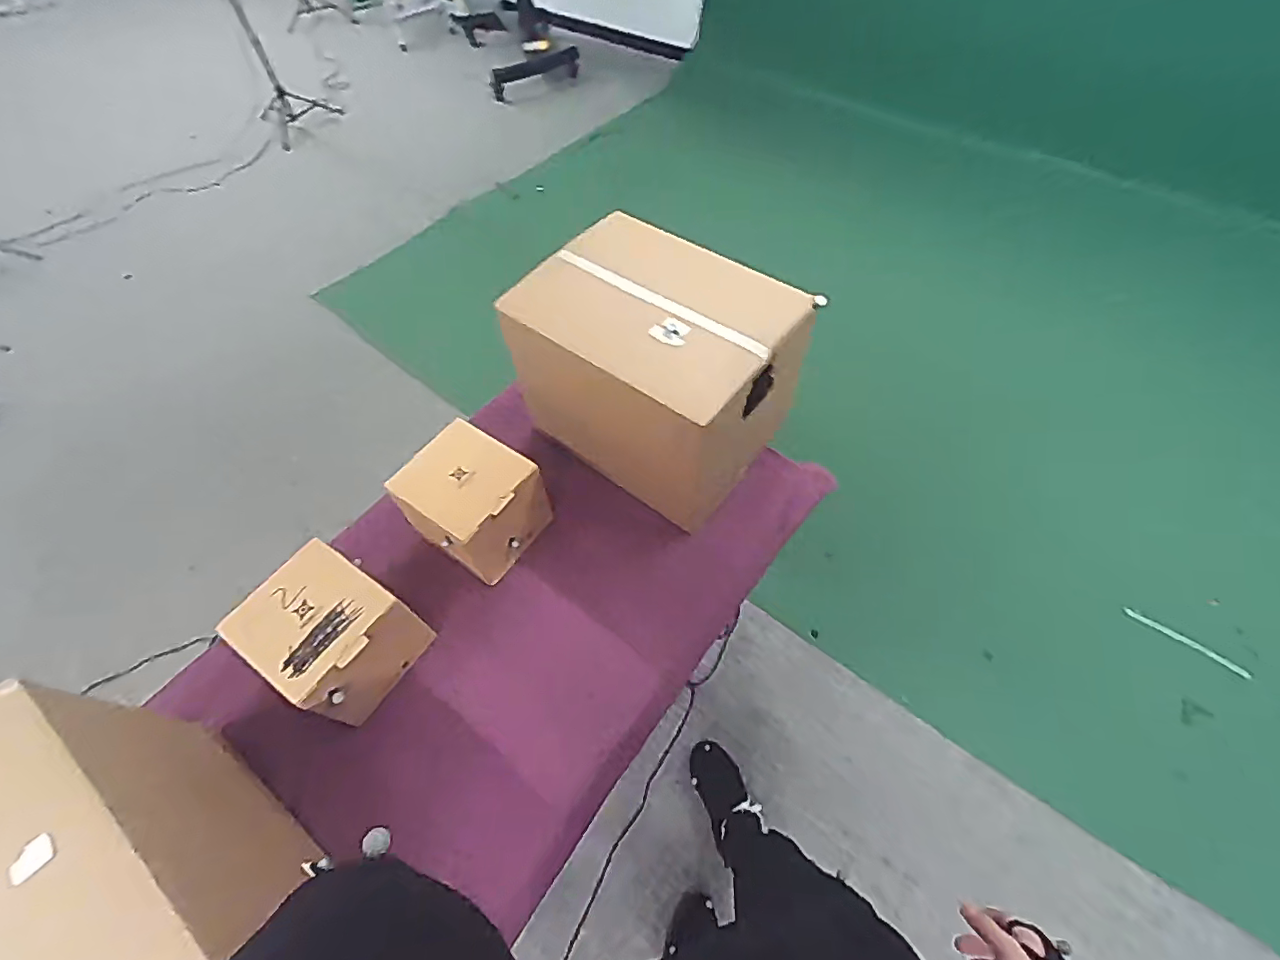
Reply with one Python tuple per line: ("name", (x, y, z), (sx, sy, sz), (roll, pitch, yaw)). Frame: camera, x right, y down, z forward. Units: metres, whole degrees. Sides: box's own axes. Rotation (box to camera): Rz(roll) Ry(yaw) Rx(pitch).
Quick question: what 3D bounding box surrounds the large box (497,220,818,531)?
("large box", (0.026, -0.183, 0.954), (0.408, 0.320, 0.320), (33, 65, 20))
